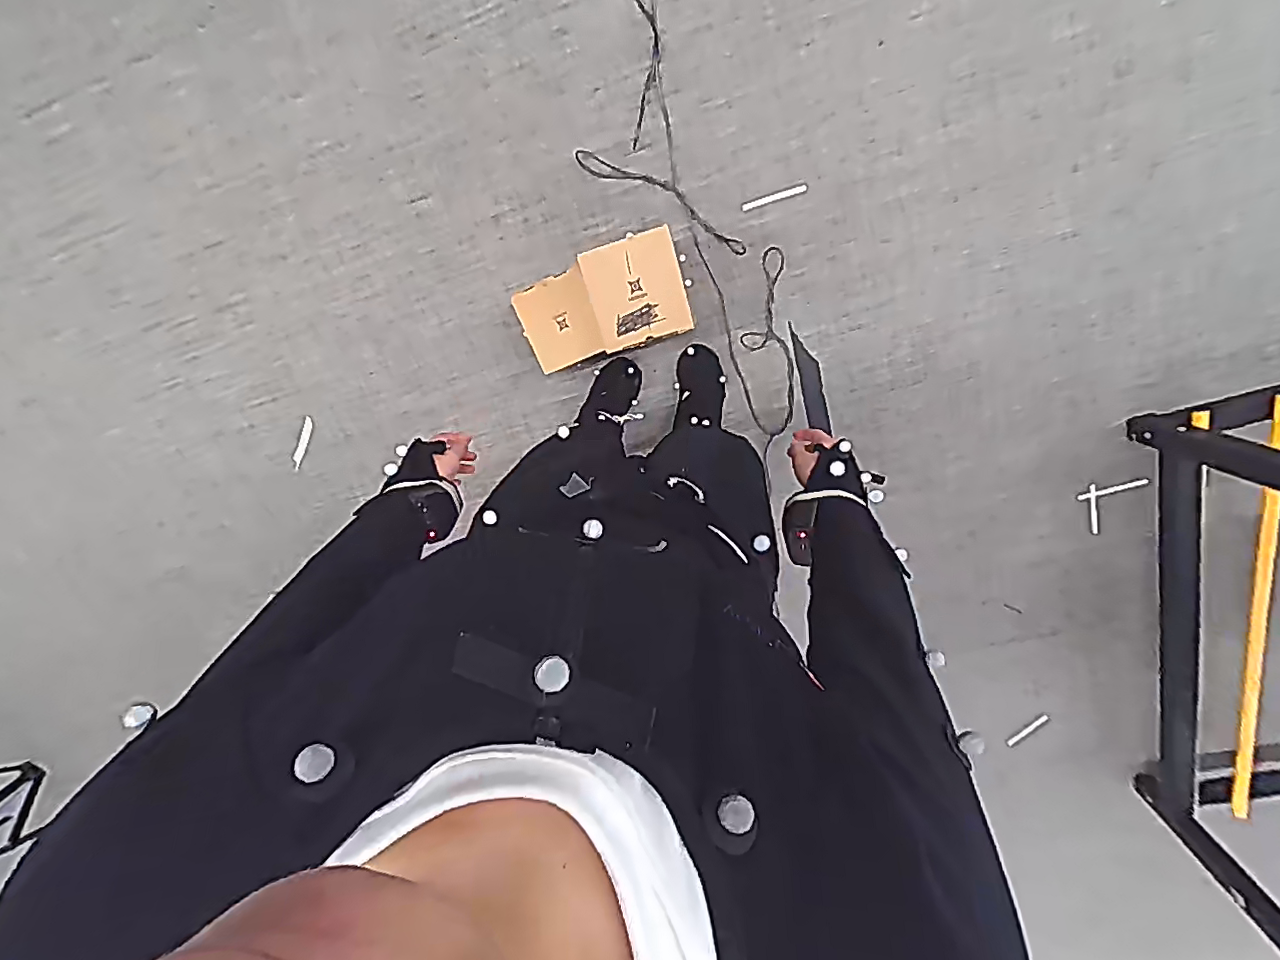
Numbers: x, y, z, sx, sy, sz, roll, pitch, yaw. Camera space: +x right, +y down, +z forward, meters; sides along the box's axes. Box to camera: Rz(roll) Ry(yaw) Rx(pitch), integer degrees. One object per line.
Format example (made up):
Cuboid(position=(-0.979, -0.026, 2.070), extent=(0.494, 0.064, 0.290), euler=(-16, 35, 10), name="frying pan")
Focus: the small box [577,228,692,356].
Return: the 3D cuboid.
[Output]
Cuboid(position=(0.000, -0.345, 1.000), extent=(0.168, 0.176, 0.179), euler=(-14, 107, 10), name="small box")
